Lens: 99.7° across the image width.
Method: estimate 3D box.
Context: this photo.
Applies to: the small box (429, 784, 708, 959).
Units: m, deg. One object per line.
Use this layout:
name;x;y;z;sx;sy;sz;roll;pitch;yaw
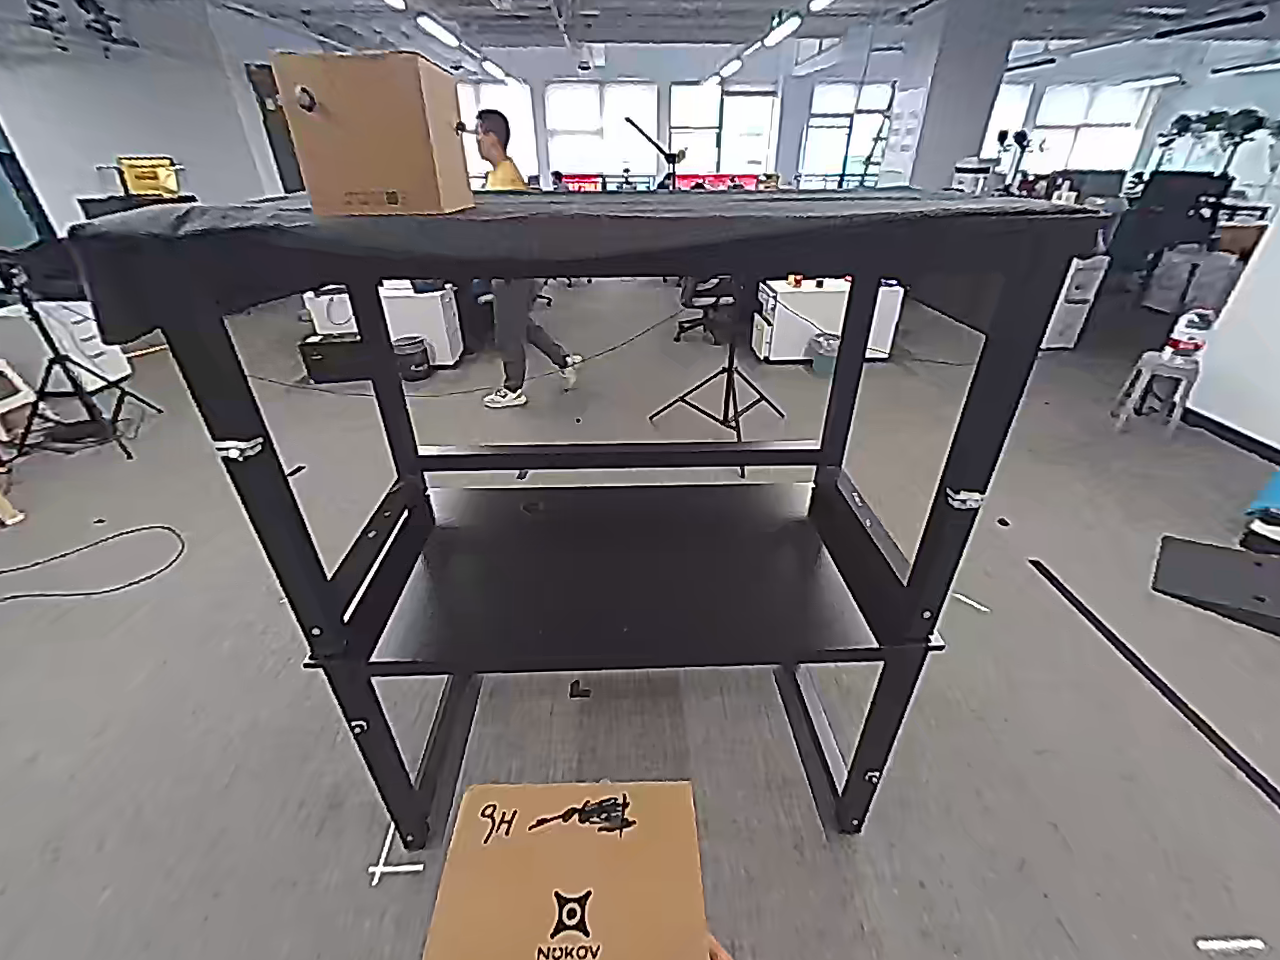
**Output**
small box;-0.042;0.337;0.368;0.168;0.176;0.179;1;34;-2
